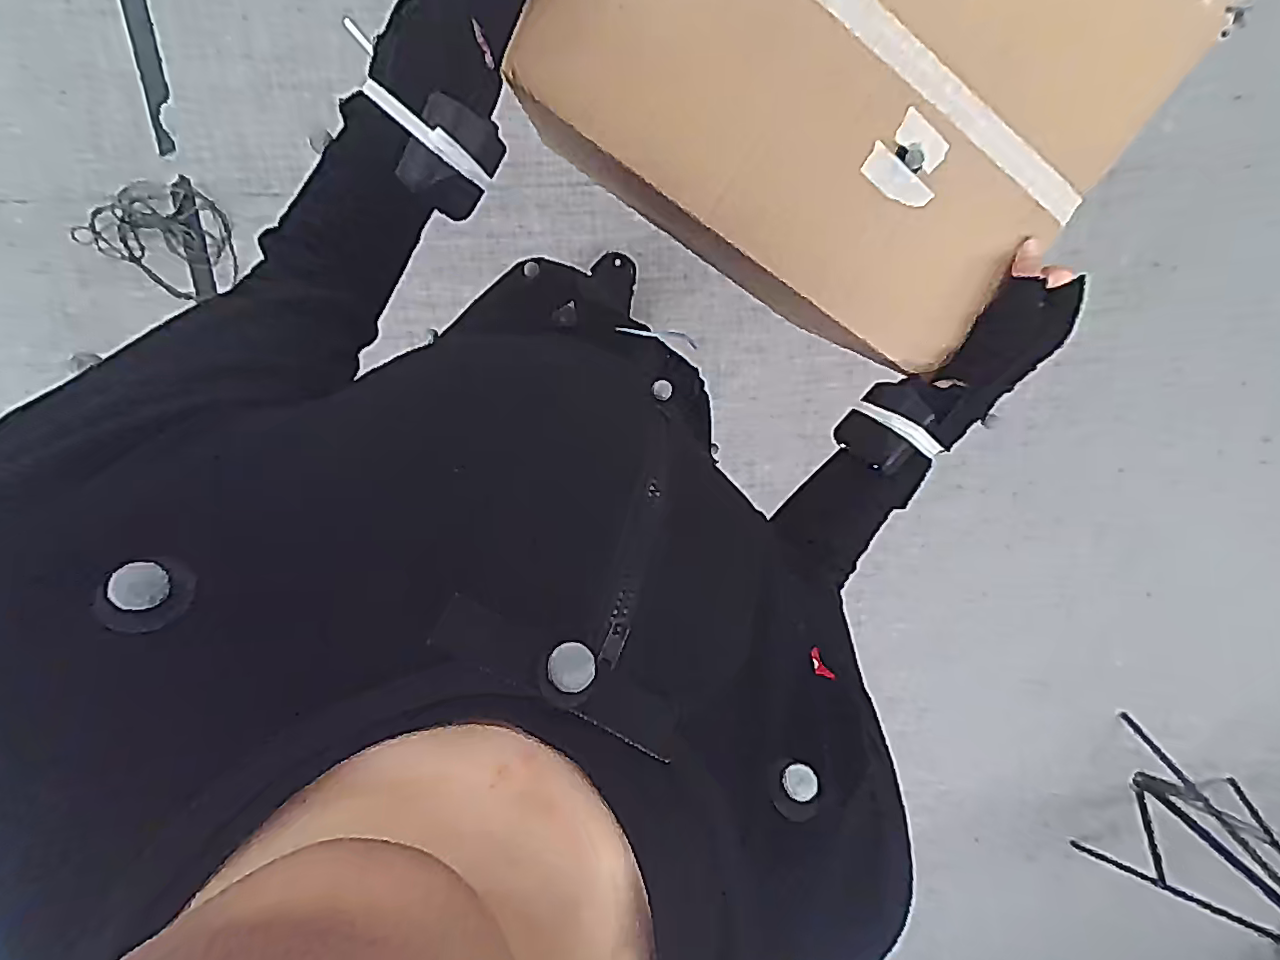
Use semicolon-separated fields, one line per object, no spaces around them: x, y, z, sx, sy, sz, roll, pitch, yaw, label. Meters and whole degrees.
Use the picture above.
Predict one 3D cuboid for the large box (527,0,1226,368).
0.153;-0.367;0.504;0.408;0.320;0.320;29;110;-18;large box
